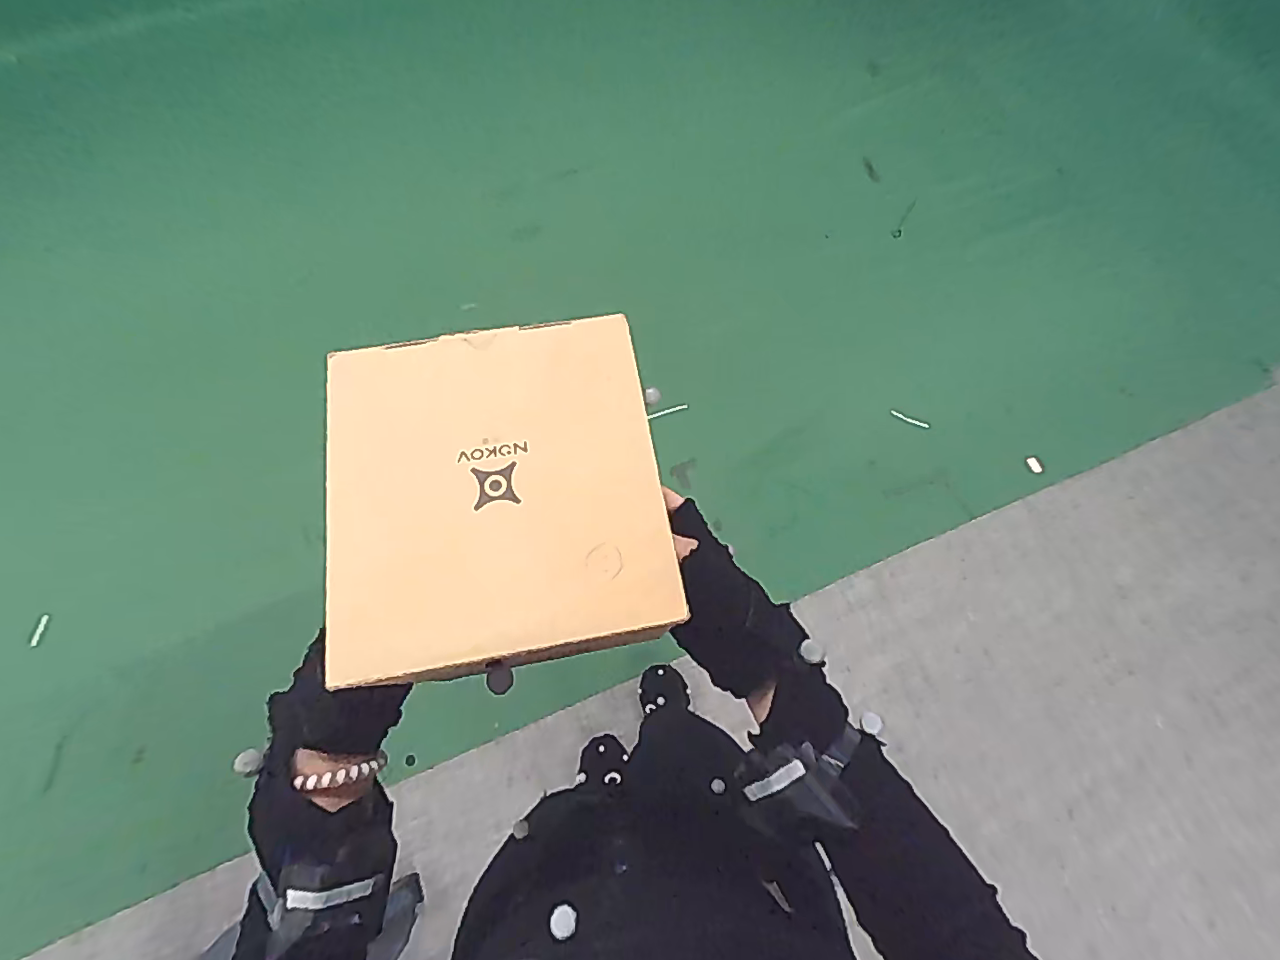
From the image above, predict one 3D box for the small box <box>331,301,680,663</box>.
[{"bbox_3d":[-0.075,0.016,0.353,0.168,0.176,0.179,-9,70,-6],"label":"small box"}]
